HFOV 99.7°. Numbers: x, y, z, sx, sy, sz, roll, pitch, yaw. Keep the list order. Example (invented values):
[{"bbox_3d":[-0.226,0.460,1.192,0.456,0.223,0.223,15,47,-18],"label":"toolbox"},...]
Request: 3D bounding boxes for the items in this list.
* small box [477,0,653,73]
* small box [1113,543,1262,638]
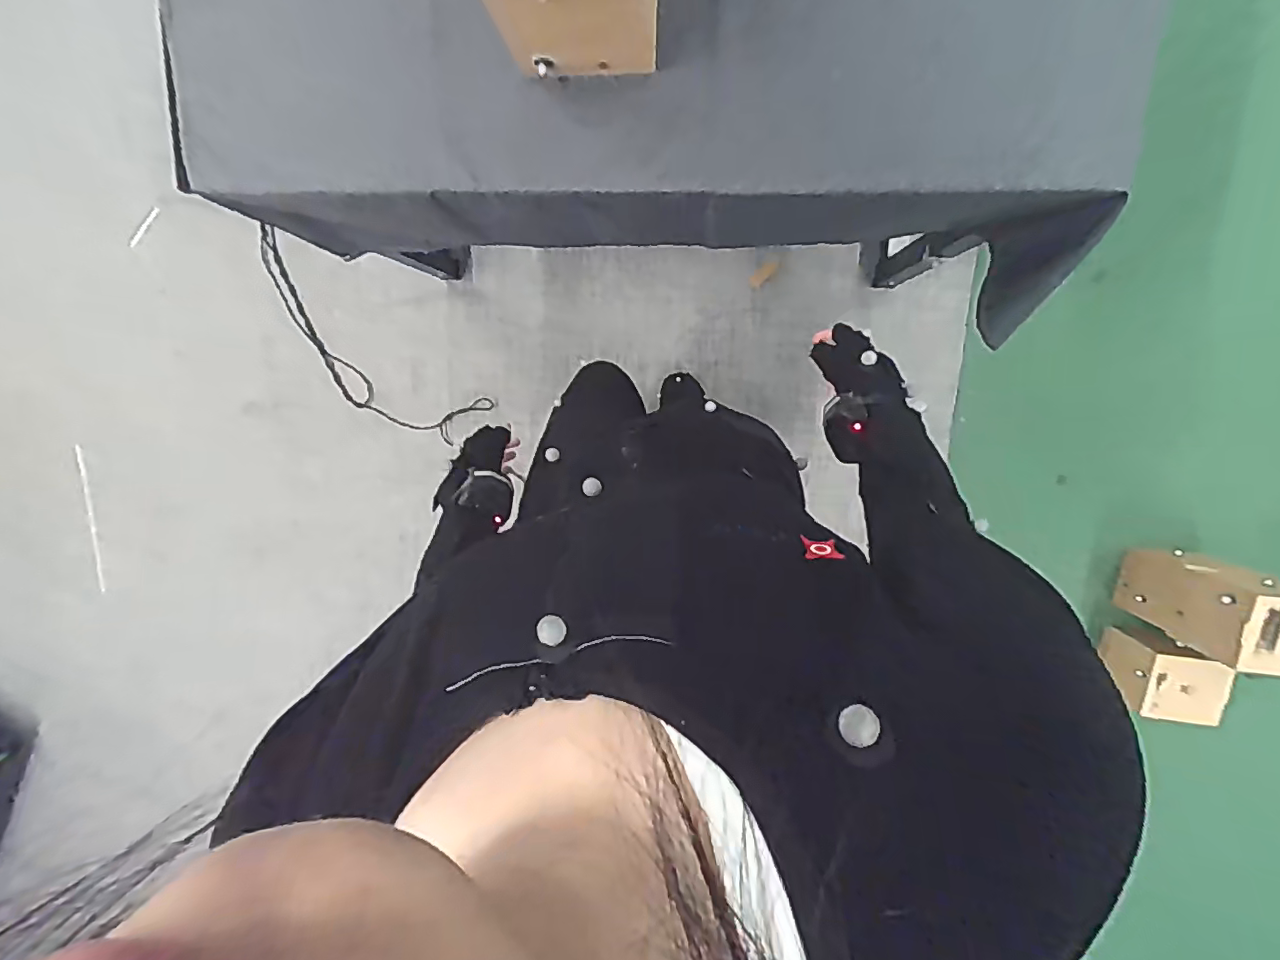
[{"bbox_3d":[-0.073,-0.570,0.576,0.168,0.176,0.179,2,99,5],"label":"small box"},{"bbox_3d":[1.315,0.261,1.315,0.179,0.176,0.168,8,101,5],"label":"small box"}]
